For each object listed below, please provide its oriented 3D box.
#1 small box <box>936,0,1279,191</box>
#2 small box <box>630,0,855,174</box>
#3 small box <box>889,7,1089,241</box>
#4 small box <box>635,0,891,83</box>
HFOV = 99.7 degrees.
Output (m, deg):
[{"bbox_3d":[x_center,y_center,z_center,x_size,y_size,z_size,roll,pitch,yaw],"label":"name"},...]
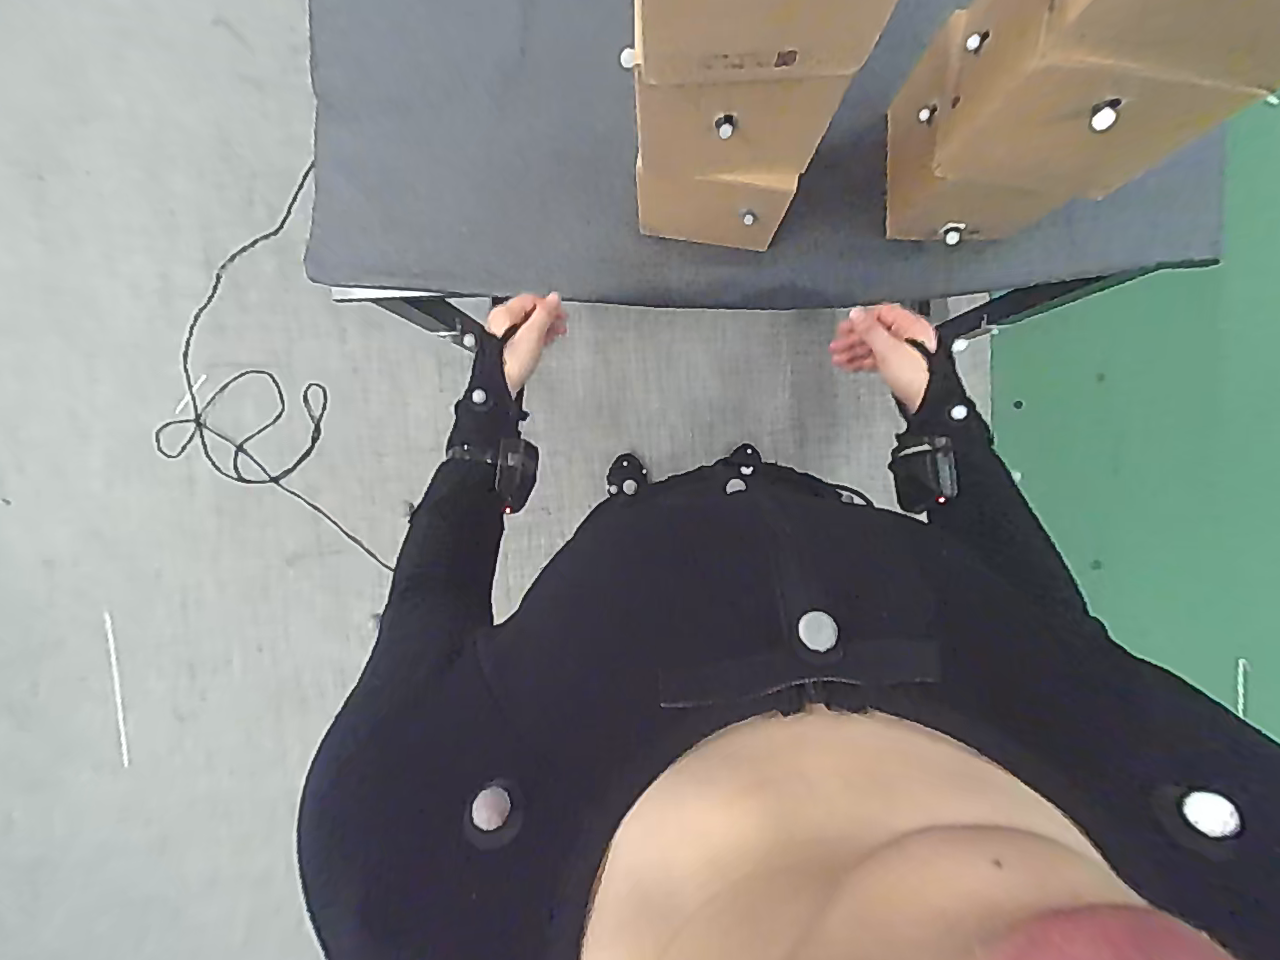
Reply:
[{"bbox_3d":[0.401,-0.382,0.475,0.179,0.176,0.168,10,92,4],"label":"small box"},{"bbox_3d":[0.083,-0.401,0.488,0.179,0.176,0.168,0,92,3],"label":"small box"},{"bbox_3d":[0.409,-0.403,0.637,0.168,0.176,0.179,0,93,4],"label":"small box"},{"bbox_3d":[0.077,-0.385,0.324,0.168,0.176,0.179,-1,91,2],"label":"small box"}]
